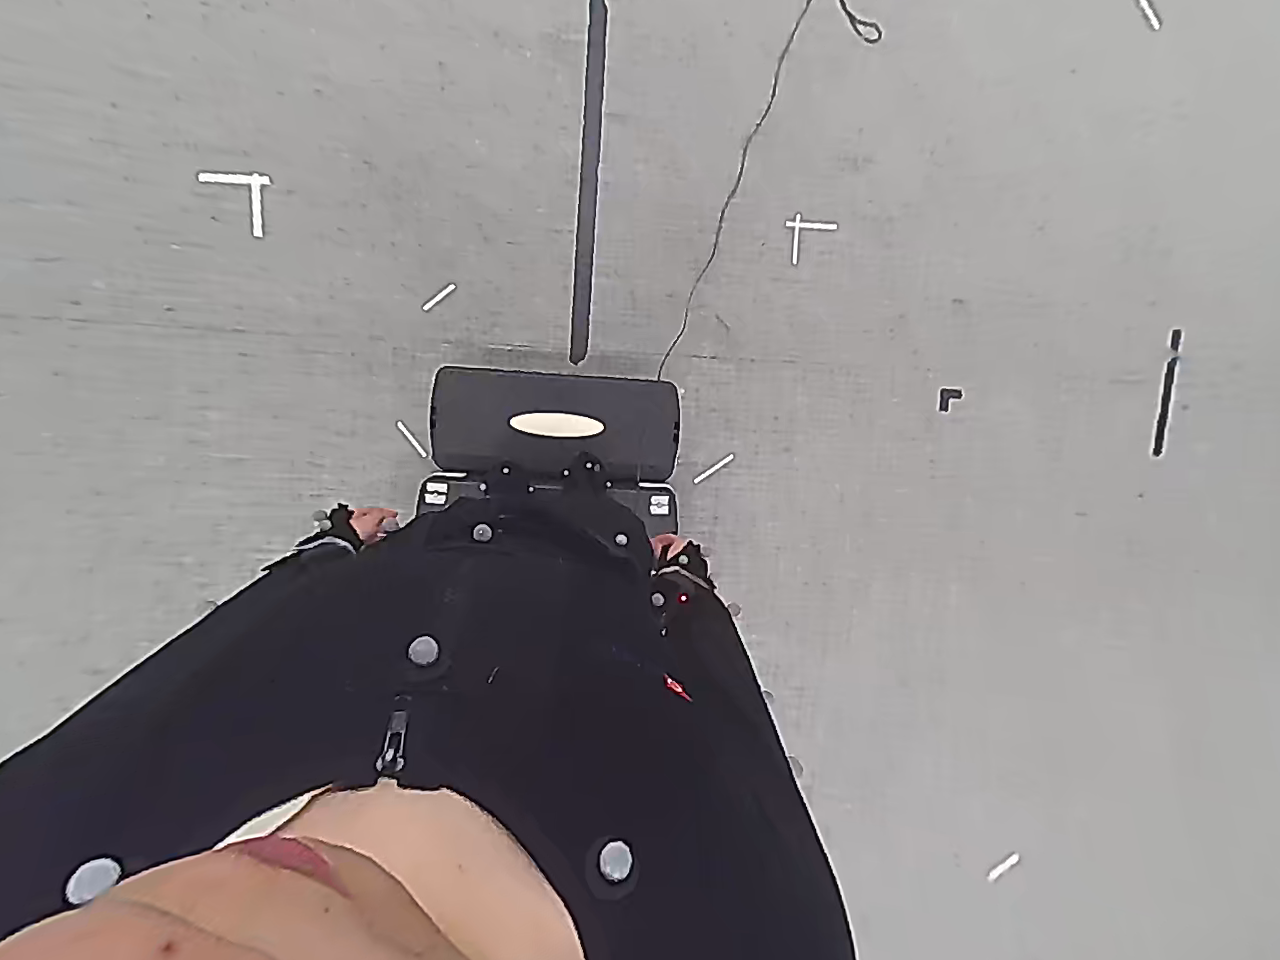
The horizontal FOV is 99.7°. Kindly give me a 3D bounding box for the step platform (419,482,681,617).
[{"bbox_3d":[-0.230,0.184,1.463,0.684,0.204,0.286,7,92,-4],"label":"step platform"}]
